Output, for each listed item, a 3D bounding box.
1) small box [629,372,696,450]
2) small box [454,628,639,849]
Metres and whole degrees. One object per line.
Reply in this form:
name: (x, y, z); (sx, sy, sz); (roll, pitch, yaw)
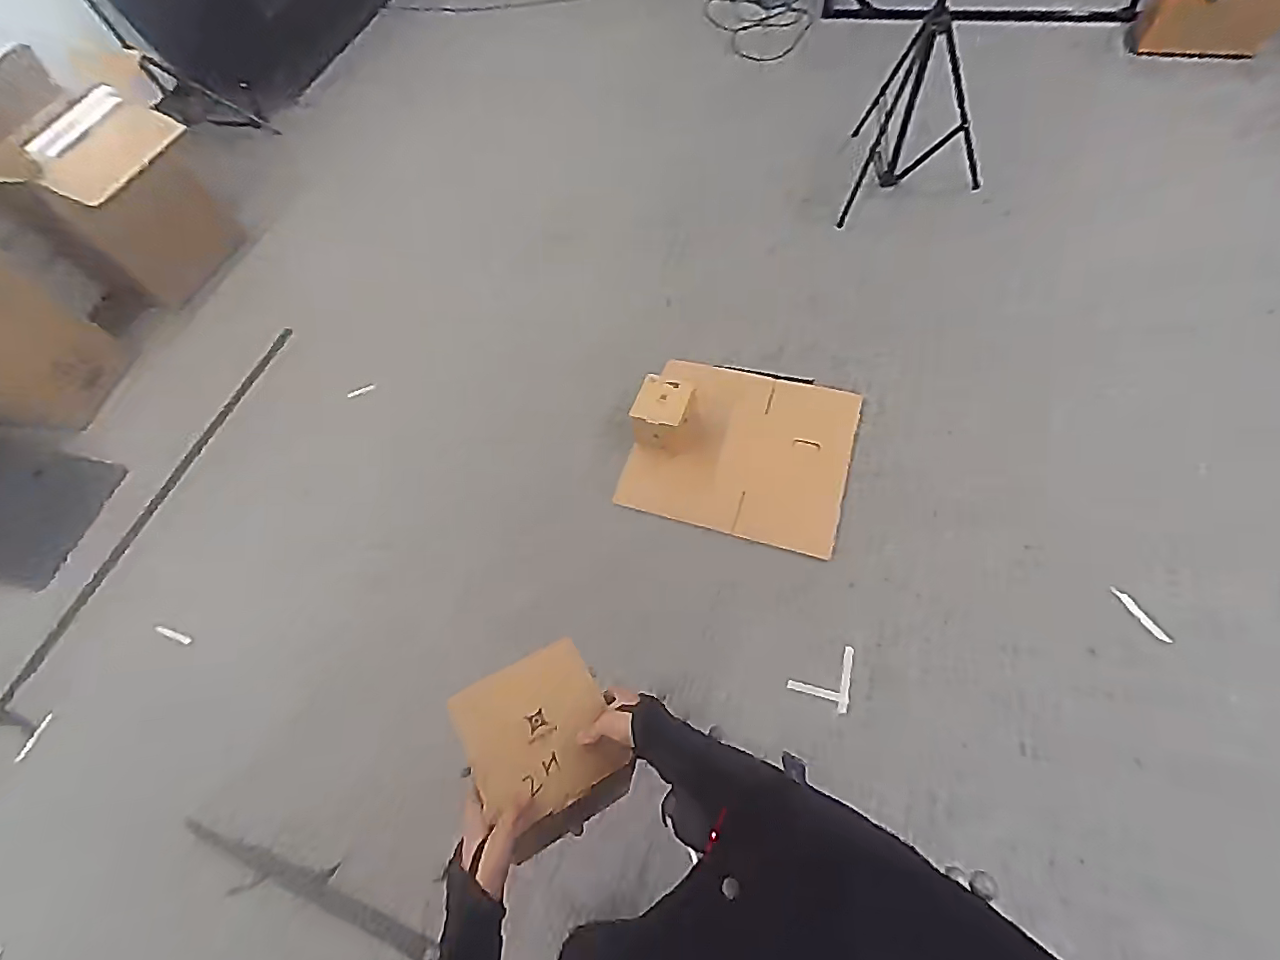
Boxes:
small box: (0.081, -0.220, 1.769); (0.168, 0.176, 0.179); (16, 67, 16)
small box: (-0.119, 0.326, 0.683); (0.168, 0.176, 0.179); (-21, 55, -22)
